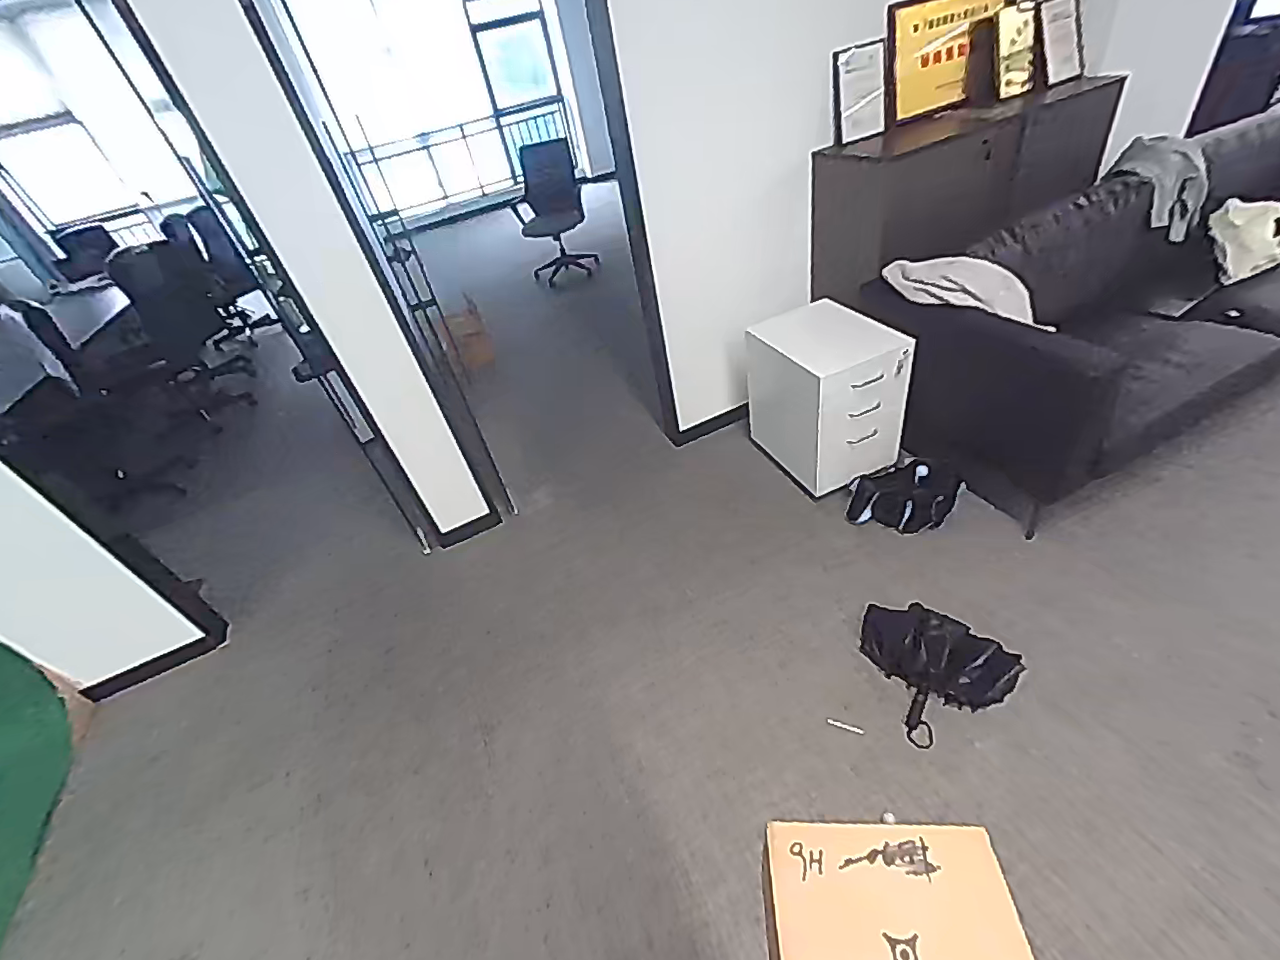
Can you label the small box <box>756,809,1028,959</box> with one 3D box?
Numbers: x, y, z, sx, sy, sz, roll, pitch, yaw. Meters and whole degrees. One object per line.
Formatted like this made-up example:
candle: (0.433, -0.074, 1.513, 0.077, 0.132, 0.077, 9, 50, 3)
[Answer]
small box: (0.179, 0.374, 0.408, 0.168, 0.176, 0.179, -3, 42, 7)
